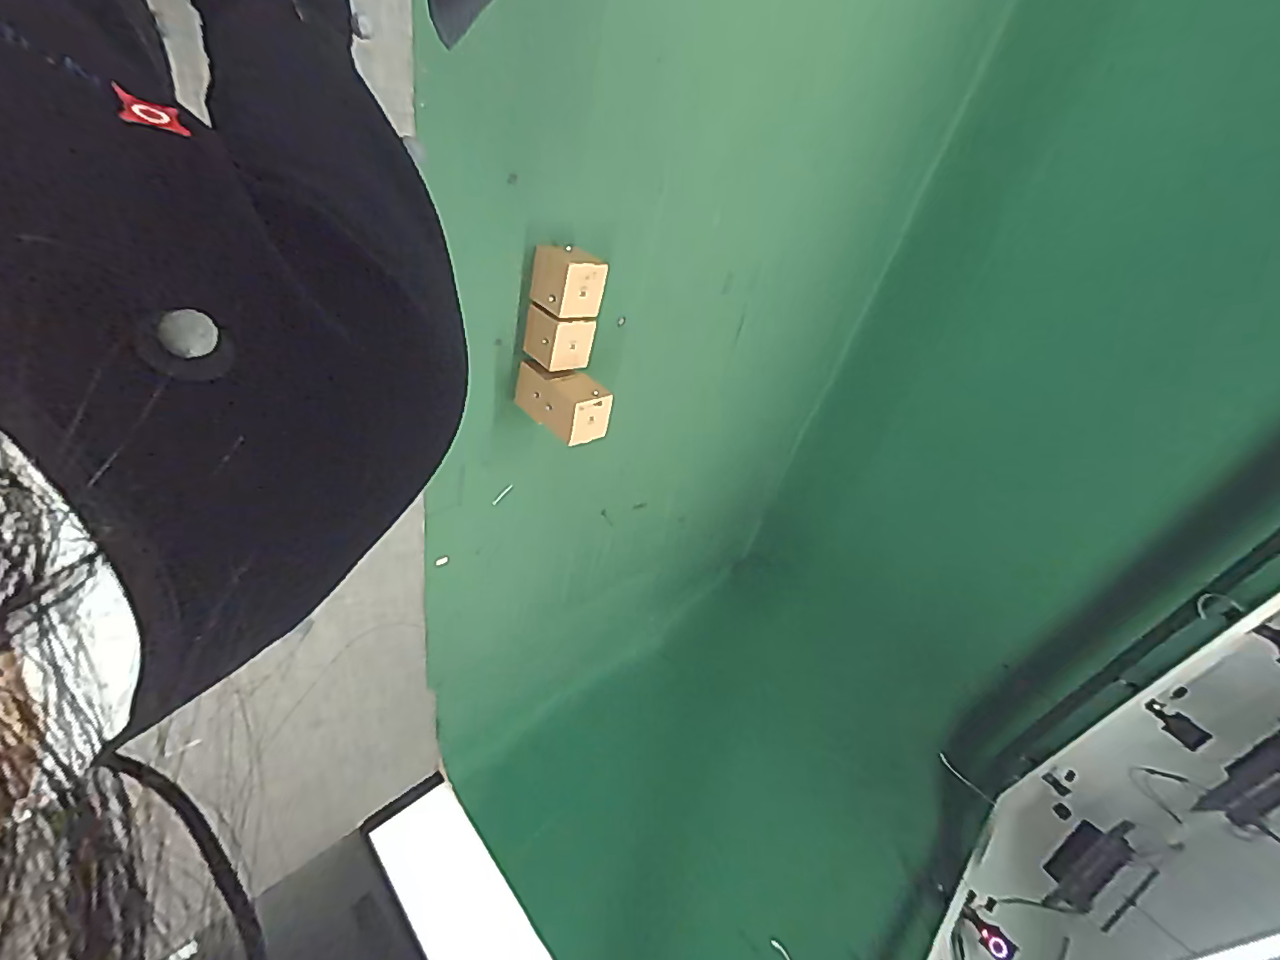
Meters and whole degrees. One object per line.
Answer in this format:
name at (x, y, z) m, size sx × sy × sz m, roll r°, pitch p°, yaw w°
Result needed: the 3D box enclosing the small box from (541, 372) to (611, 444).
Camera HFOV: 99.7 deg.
small box at (-0.232, -0.256, 1.900) m, size 0.168 × 0.176 × 0.179 m, roll -22°, pitch 141°, yaw -40°
